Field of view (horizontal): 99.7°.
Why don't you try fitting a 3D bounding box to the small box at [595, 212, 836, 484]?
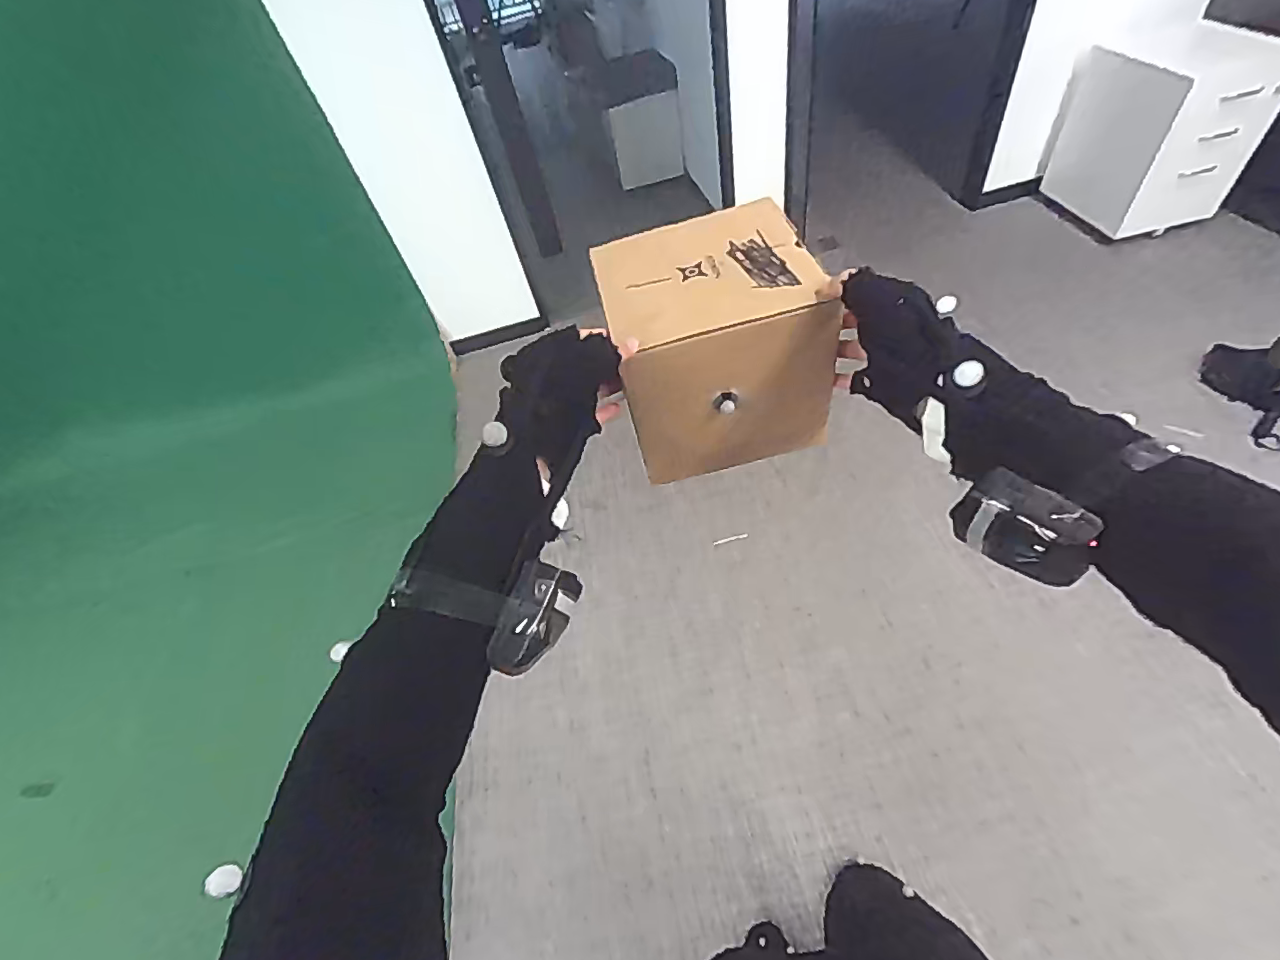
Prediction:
[{"bbox_3d":[0.068,-0.121,0.524,0.179,0.176,0.168,-15,50,3],"label":"small box"}]
